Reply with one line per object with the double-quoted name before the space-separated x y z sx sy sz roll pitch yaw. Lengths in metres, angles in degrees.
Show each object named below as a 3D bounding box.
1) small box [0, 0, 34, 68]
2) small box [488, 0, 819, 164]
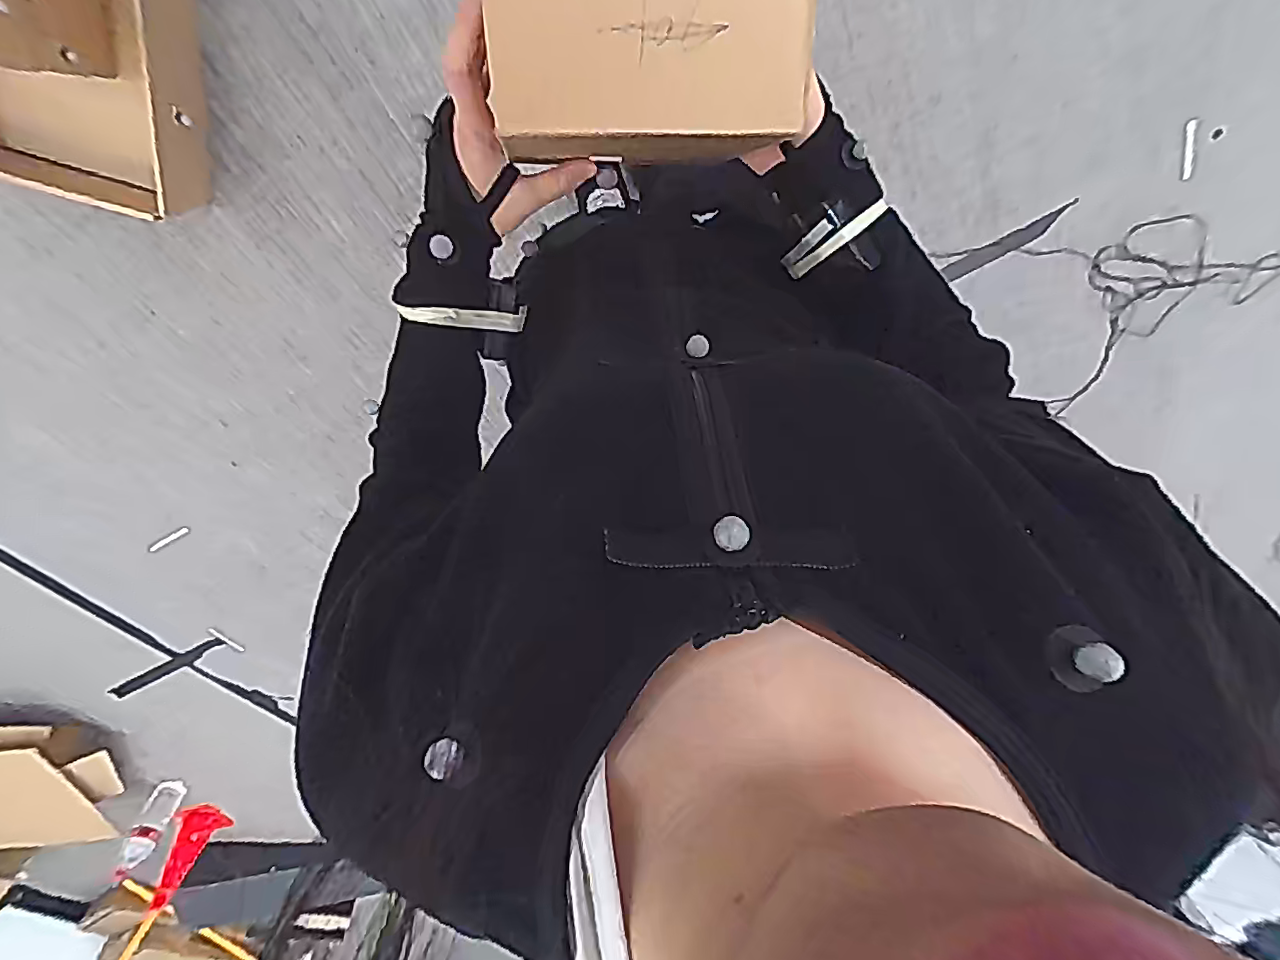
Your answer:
"small box" -0.994 -0.695 0.737 0.179 0.176 0.168 16 119 -17
"small box" -0.005 -0.296 0.318 0.168 0.176 0.179 -5 116 -8
